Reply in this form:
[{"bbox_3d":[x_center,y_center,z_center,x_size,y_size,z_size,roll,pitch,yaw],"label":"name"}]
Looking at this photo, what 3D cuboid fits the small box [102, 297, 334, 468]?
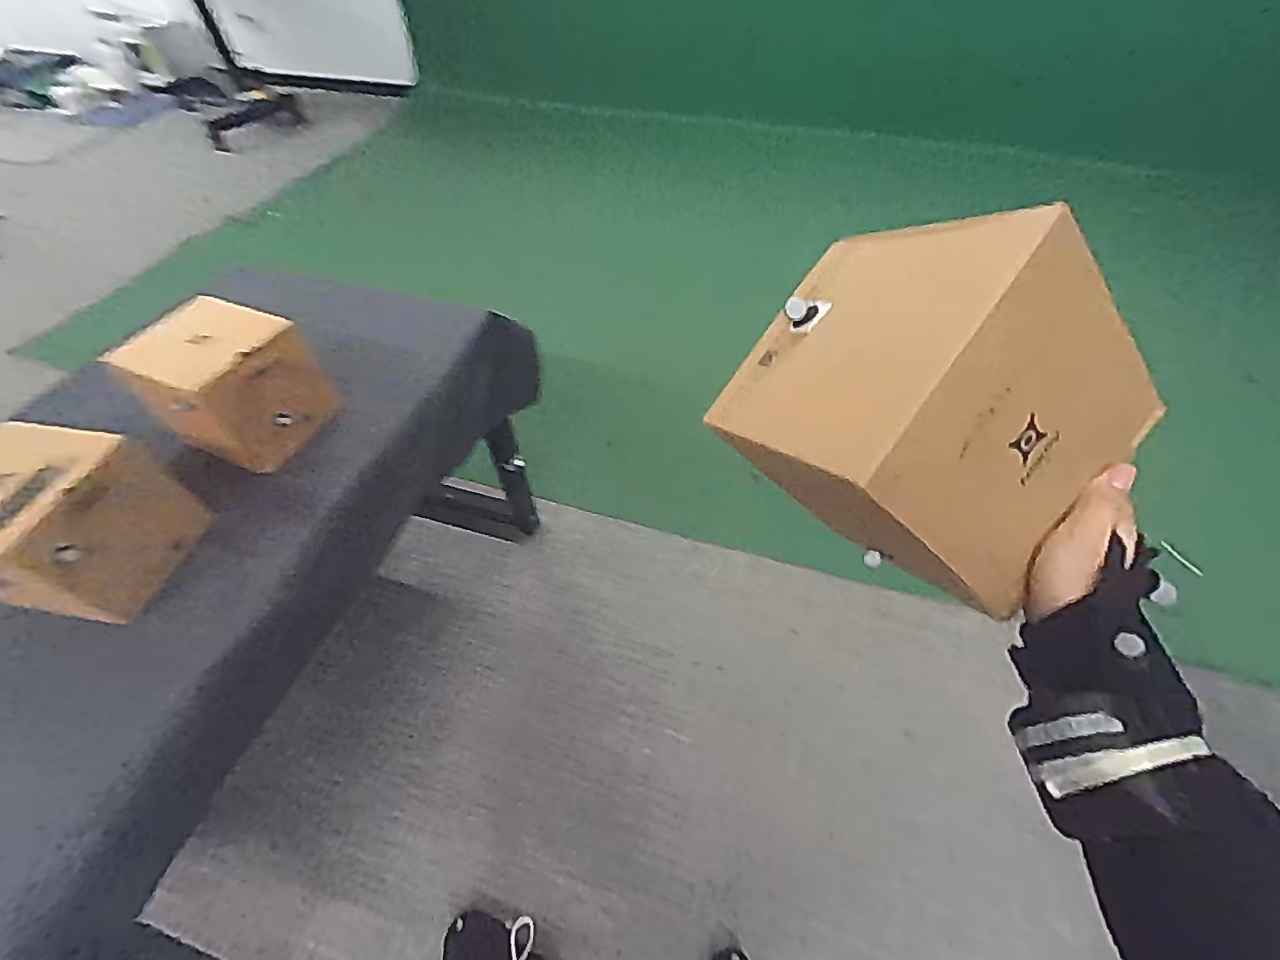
[{"bbox_3d":[-0.610,-0.143,0.808,0.179,0.176,0.168,18,54,14],"label":"small box"}]
